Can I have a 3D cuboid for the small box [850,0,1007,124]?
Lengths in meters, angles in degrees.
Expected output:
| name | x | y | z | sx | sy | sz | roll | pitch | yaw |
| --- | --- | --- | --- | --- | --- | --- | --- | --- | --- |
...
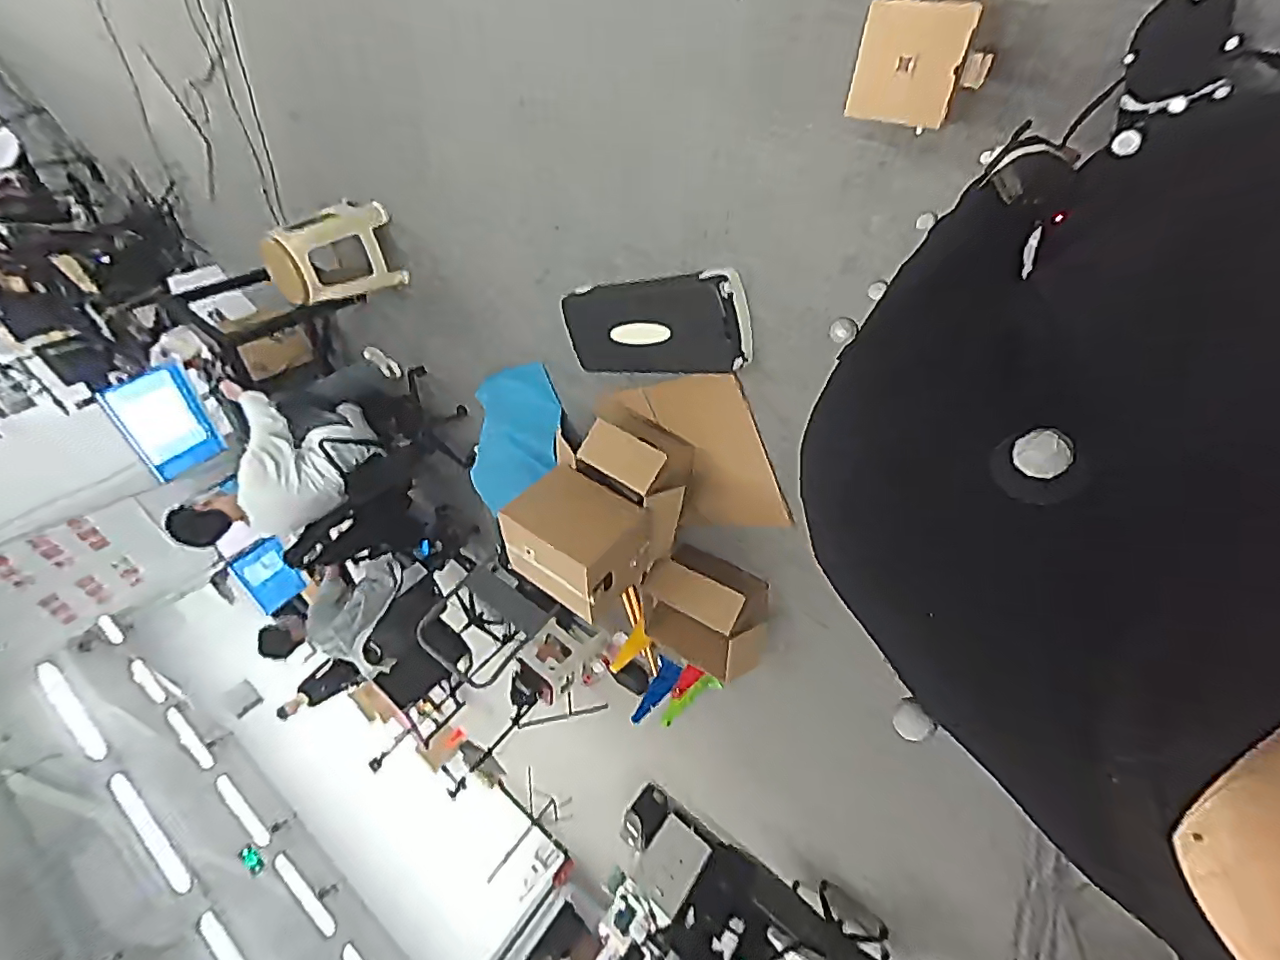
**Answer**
| name | x | y | z | sx | sy | sz | roll | pitch | yaw |
| --- | --- | --- | --- | --- | --- | --- | --- | --- | --- |
| small box | 0.506 | -0.744 | 0.953 | 0.179 | 0.176 | 0.168 | 27 | 138 | 25 |
